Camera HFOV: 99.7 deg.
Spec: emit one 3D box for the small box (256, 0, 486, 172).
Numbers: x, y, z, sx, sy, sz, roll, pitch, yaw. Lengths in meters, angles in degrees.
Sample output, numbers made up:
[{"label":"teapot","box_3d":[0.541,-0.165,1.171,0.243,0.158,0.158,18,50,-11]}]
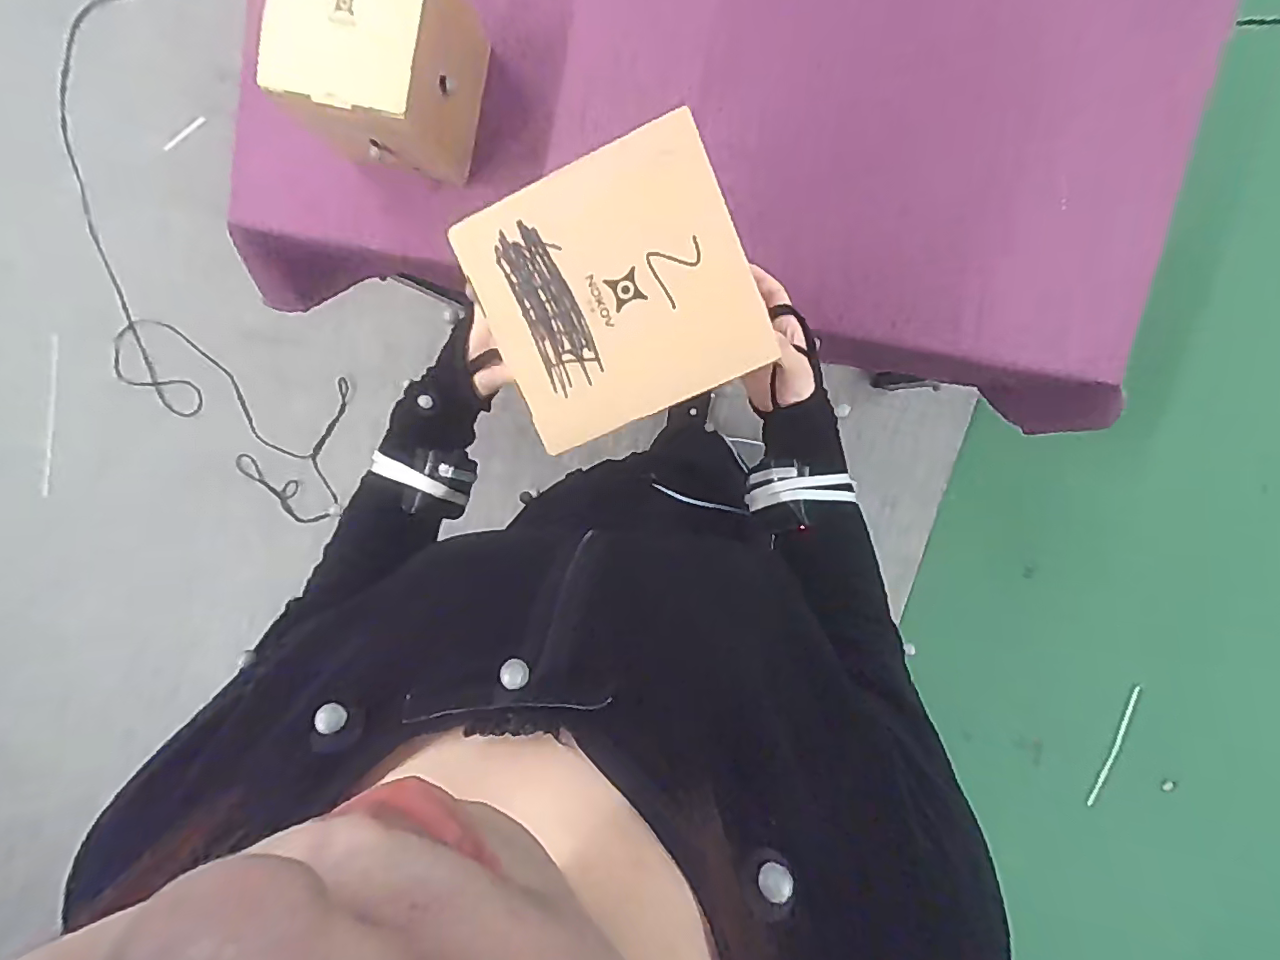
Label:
[{"label":"small box","box_3d":[-0.292,-0.488,0.621,0.168,0.176,0.179,15,99,0]}]
